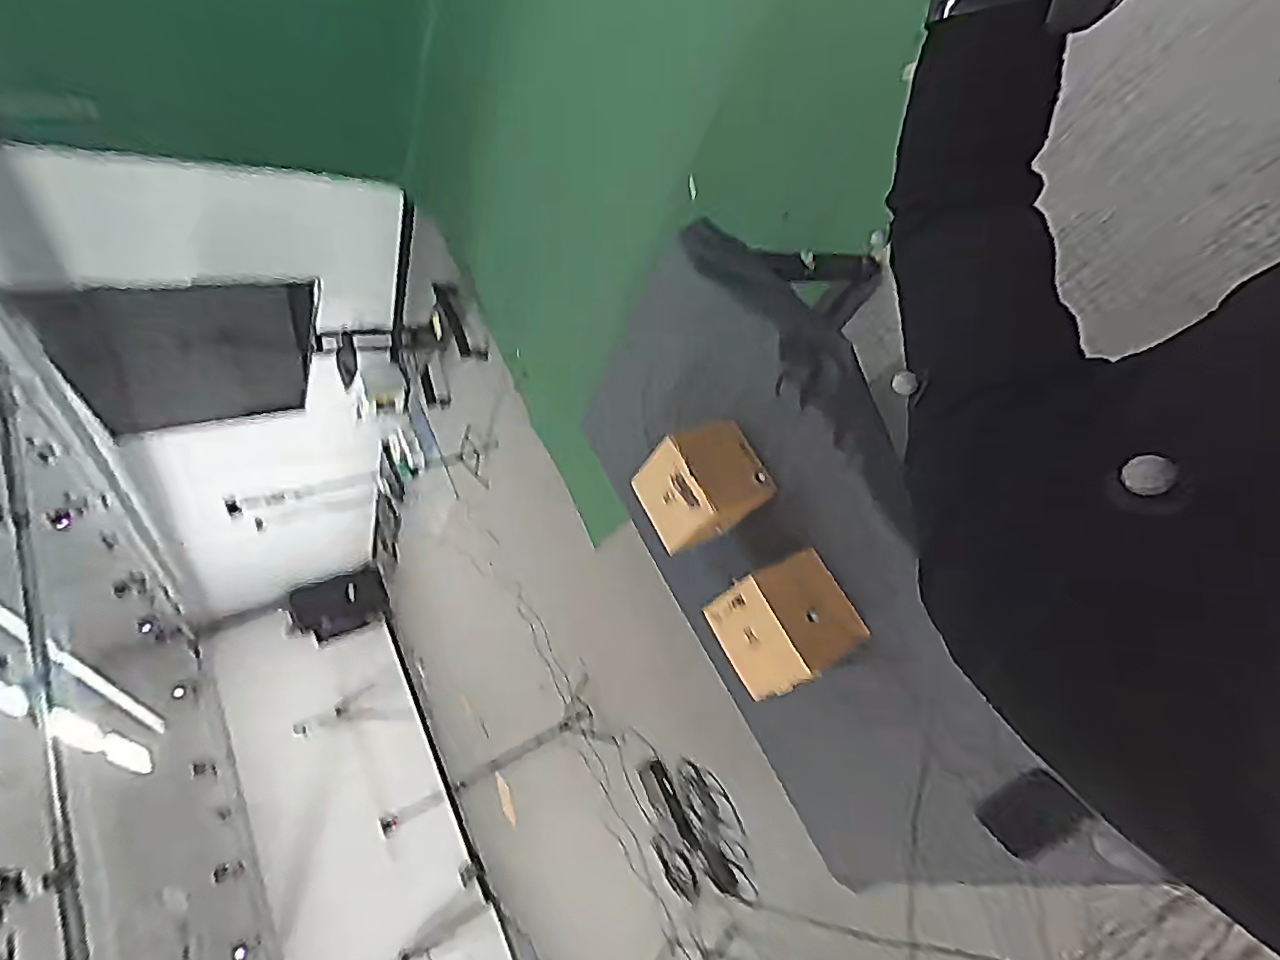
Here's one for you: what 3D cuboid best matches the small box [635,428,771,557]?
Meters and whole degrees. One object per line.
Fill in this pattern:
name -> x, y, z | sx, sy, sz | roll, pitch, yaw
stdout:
small box -> 0.125, 0.019, 1.040 | 0.168, 0.176, 0.179 | 60, 143, 18

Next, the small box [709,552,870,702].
small box -> 0.262, 0.254, 0.949 | 0.179, 0.176, 0.168 | 58, 141, 19
